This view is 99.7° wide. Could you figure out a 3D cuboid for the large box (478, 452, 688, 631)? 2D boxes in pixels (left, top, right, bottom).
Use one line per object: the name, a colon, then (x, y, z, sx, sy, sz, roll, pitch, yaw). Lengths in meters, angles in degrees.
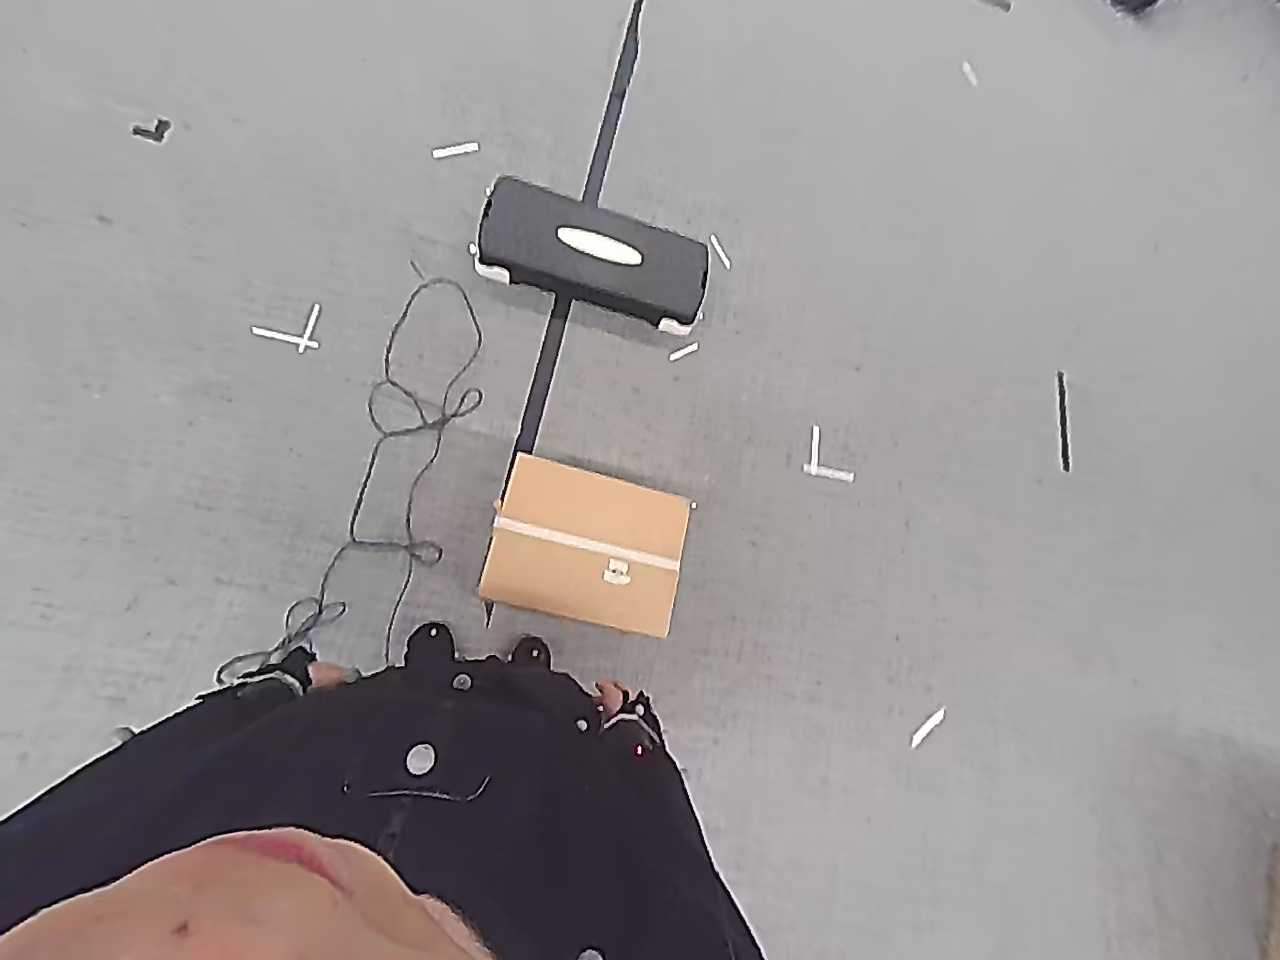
large box: (-0.147, 0.164, 1.282, 0.408, 0.320, 0.320, 16, 74, -12)
